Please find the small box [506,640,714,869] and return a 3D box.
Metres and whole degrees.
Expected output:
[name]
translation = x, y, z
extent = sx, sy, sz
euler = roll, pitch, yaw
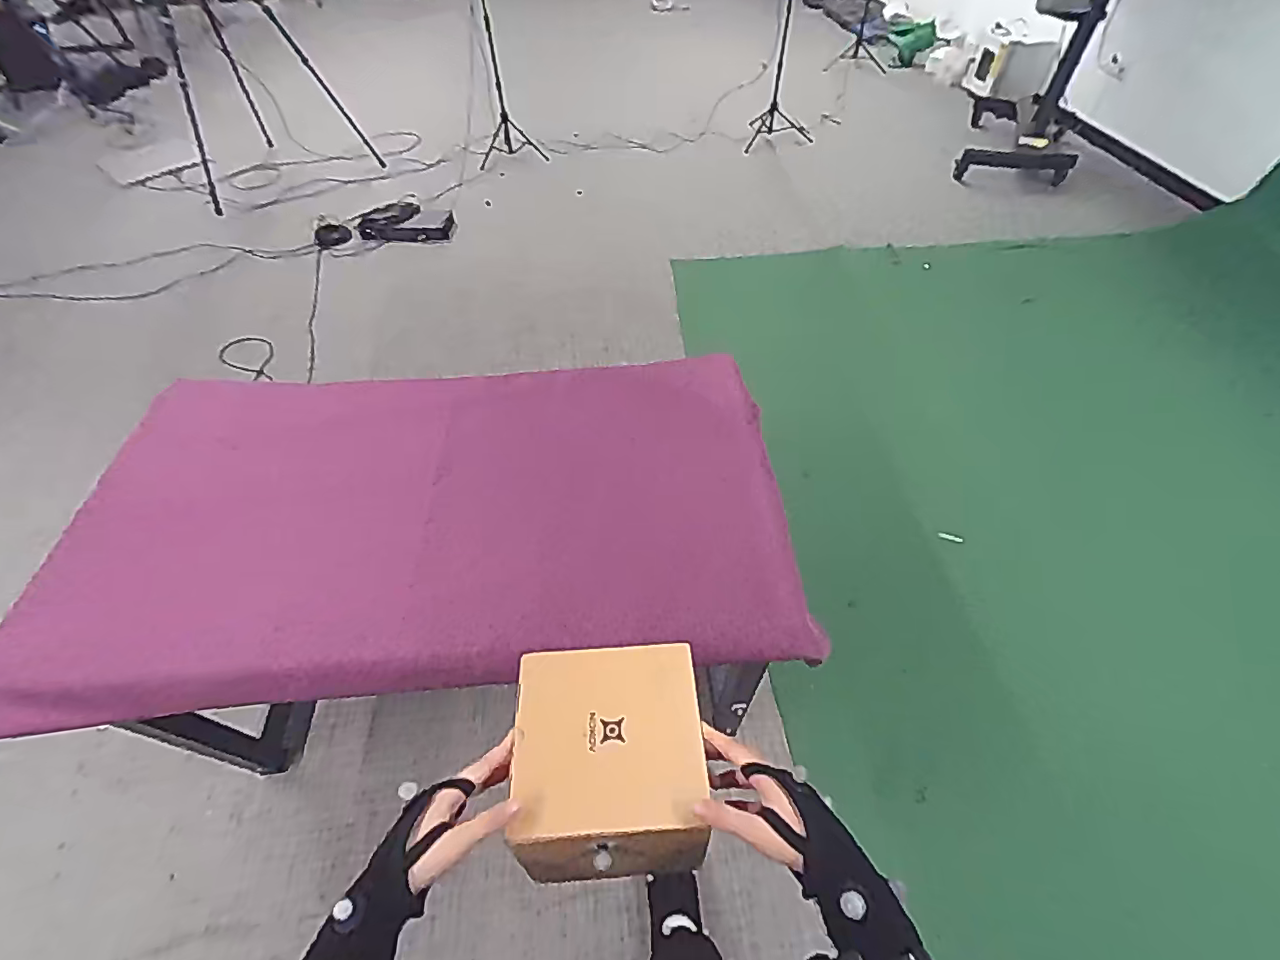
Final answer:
[small box]
translation = -0.026, 0.284, 0.558
extent = 0.179, 0.176, 0.168
euler = -4, 44, -1
